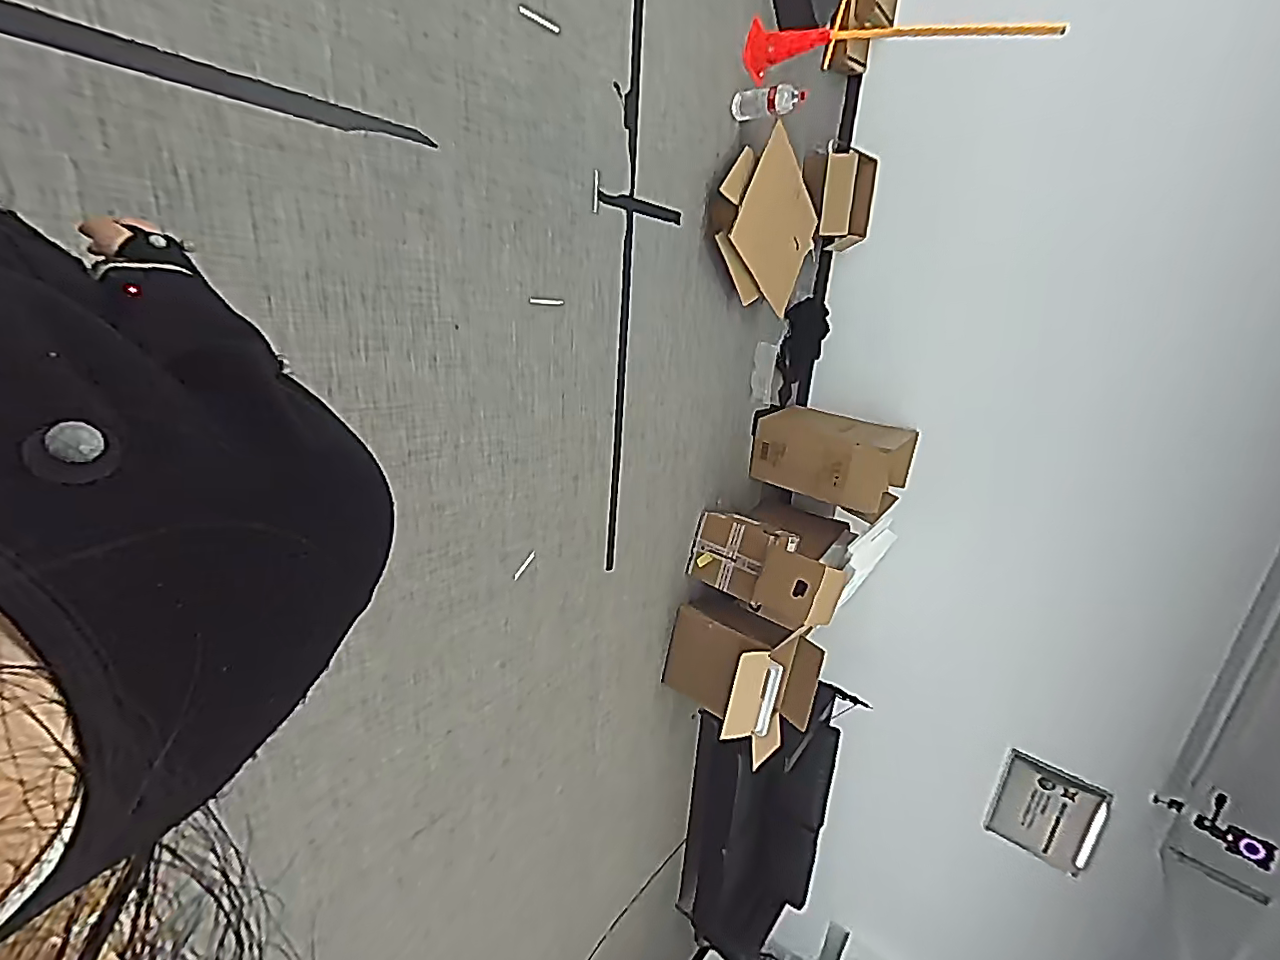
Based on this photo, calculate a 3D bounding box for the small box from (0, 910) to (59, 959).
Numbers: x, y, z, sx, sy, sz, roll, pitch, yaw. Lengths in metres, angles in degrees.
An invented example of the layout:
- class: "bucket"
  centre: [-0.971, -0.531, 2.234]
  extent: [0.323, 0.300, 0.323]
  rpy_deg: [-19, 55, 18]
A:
- class: "small box"
  centre: [-1.092, 0.883, 0.896]
  extent: [0.179, 0.176, 0.168]
  rpy_deg: [-19, 117, -47]
